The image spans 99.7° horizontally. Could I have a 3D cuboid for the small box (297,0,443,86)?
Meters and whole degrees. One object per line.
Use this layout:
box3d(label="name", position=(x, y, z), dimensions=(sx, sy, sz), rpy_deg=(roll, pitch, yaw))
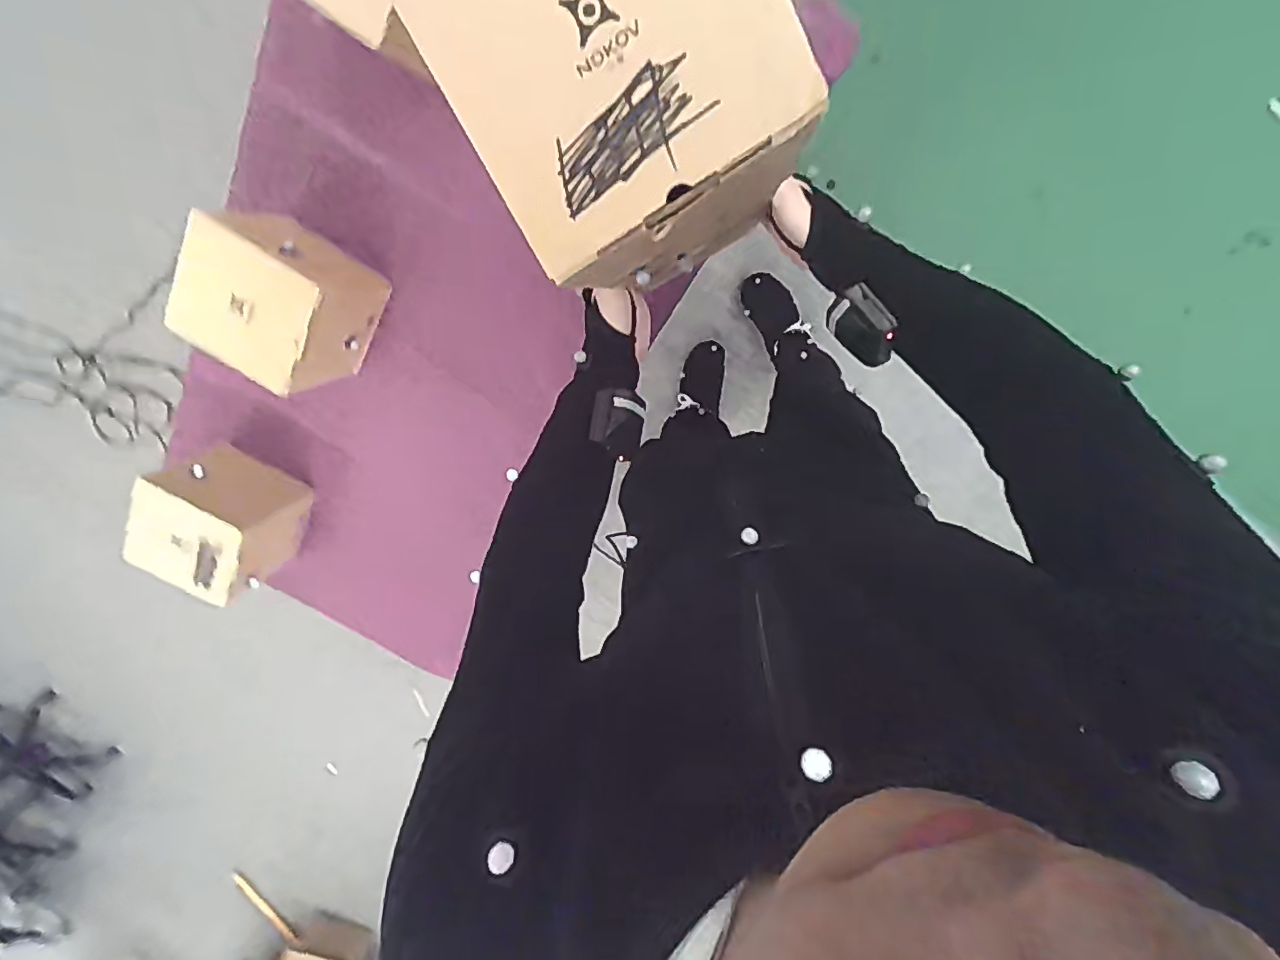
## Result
box3d(label="small box", position=(-0.296, -0.580, 0.595), dimensions=(0.179, 0.176, 0.168), rpy_deg=(33, 114, -8))

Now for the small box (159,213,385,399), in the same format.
box3d(label="small box", position=(-0.502, -0.241, 0.758), dimensions=(0.179, 0.176, 0.168), rpy_deg=(32, 111, -8))

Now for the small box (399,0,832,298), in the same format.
box3d(label="small box", position=(-0.003, -0.234, 0.337), dimensions=(0.168, 0.176, 0.179), rpy_deg=(-26, 103, 15))
